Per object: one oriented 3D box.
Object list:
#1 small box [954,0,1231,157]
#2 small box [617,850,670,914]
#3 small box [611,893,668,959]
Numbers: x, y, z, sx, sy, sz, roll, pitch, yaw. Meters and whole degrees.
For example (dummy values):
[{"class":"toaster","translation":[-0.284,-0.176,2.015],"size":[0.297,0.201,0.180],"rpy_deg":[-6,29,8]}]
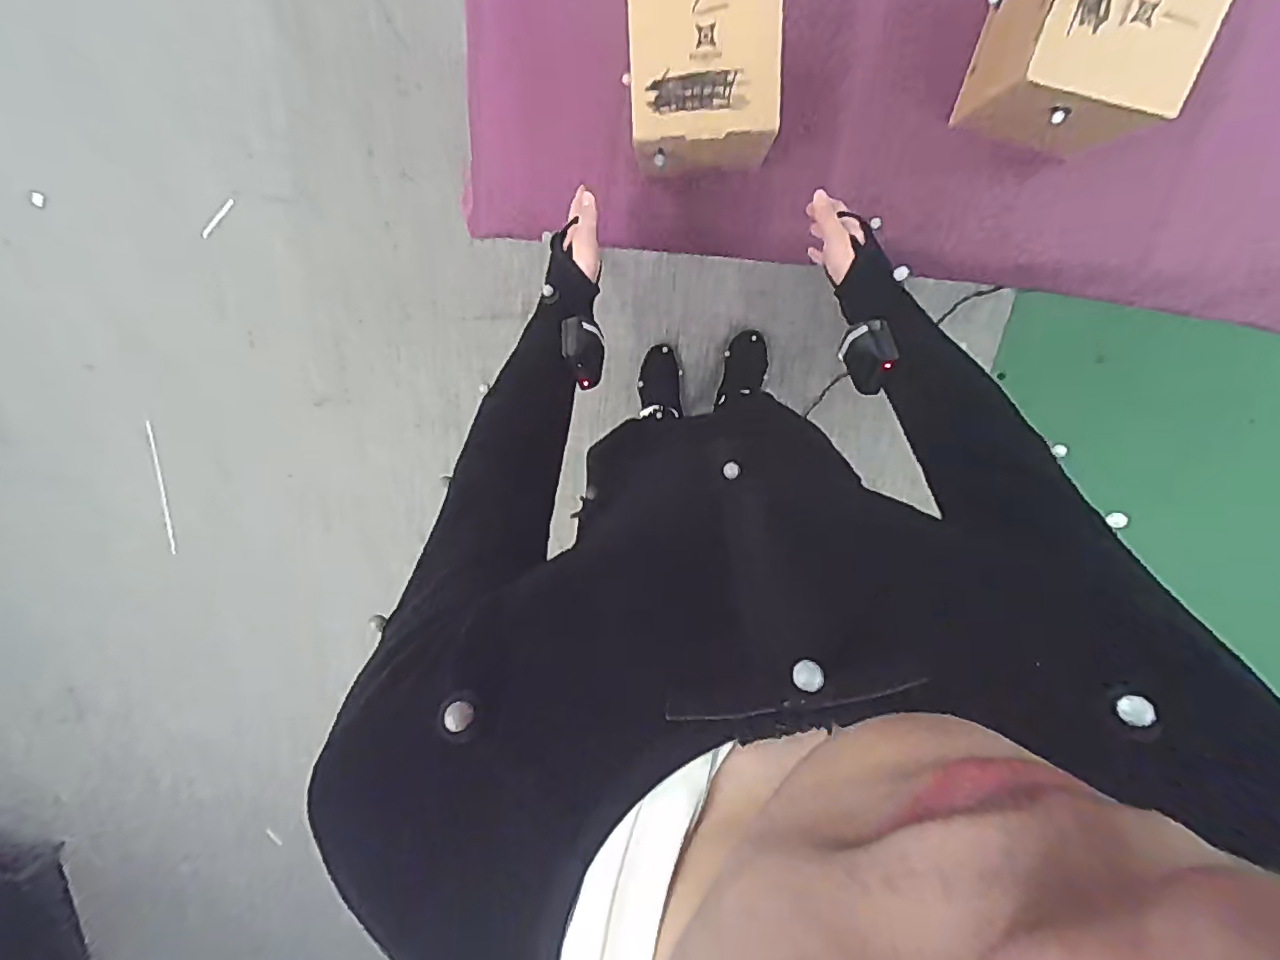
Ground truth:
[{"class":"small box","translation":[0.512,-0.502,0.631],"size":[0.179,0.176,0.168],"rpy_deg":[13,109,-2]},{"class":"small box","translation":[0.016,1.576,2.089],"size":[0.179,0.176,0.168],"rpy_deg":[10,109,0]},{"class":"small box","translation":[-0.001,1.625,1.935],"size":[0.179,0.176,0.168],"rpy_deg":[10,108,0]}]
